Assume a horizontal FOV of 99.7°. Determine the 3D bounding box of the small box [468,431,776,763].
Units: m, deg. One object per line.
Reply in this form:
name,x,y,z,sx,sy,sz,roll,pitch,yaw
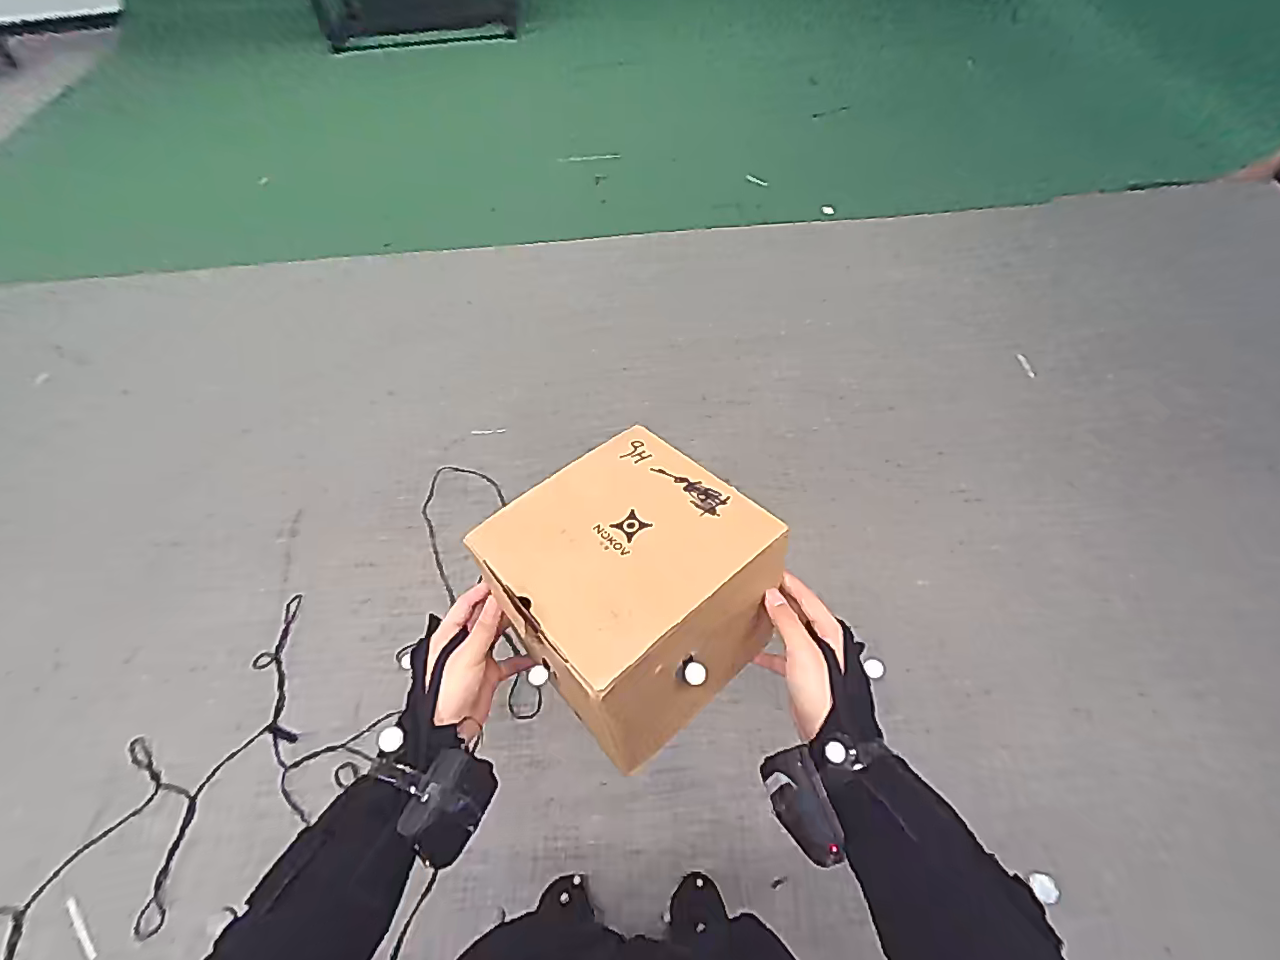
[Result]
small box,-0.006,0.097,0.454,0.179,0.176,0.168,-36,53,-23
